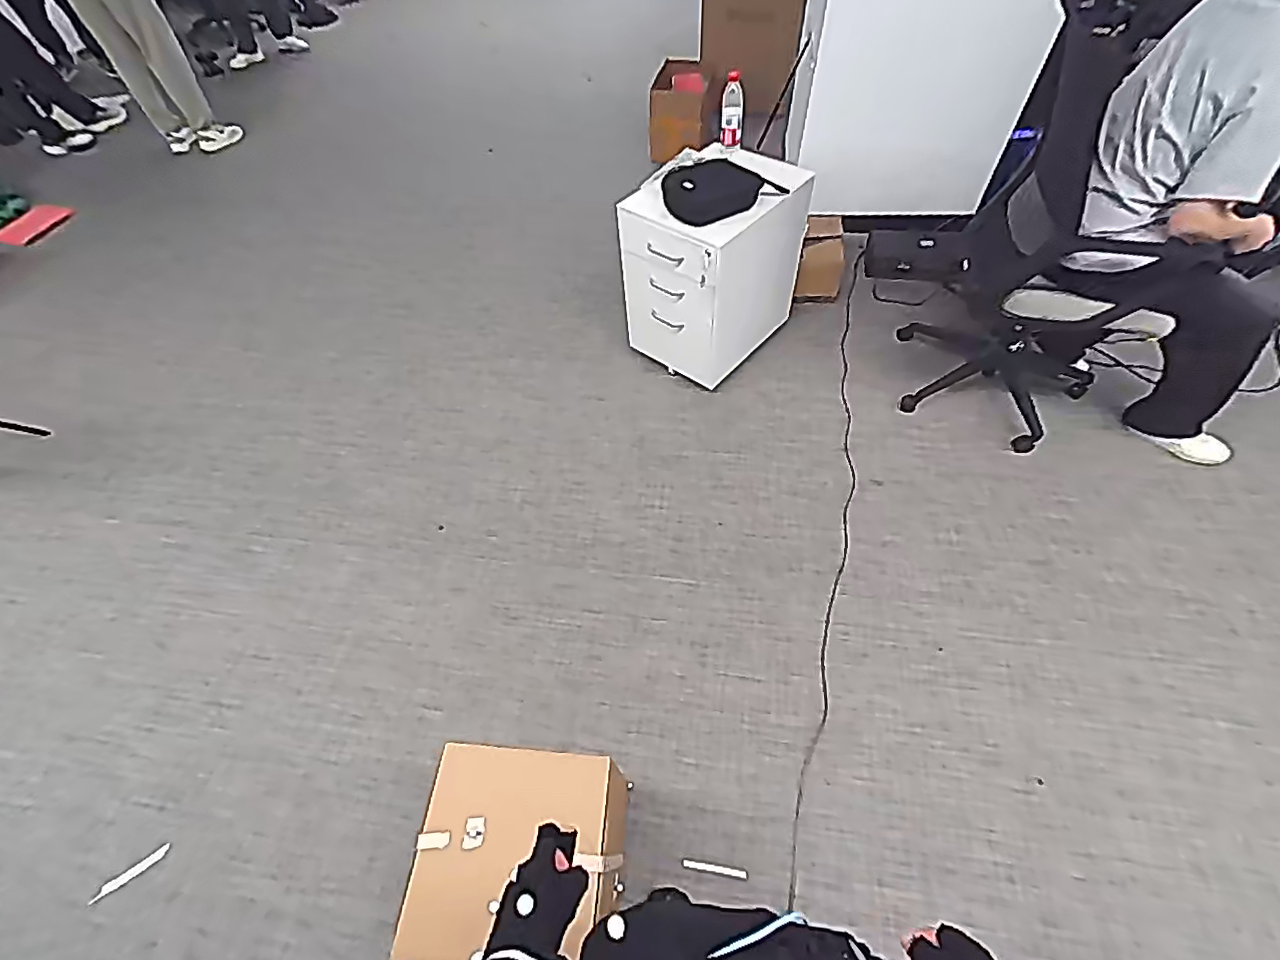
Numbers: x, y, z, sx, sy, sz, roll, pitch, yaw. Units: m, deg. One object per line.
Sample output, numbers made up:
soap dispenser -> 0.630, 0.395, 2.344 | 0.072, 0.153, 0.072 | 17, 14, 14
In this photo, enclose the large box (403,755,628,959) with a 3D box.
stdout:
large box -> -0.200, 0.737, 1.057 | 0.320, 0.408, 0.320 | 3, 57, 5
